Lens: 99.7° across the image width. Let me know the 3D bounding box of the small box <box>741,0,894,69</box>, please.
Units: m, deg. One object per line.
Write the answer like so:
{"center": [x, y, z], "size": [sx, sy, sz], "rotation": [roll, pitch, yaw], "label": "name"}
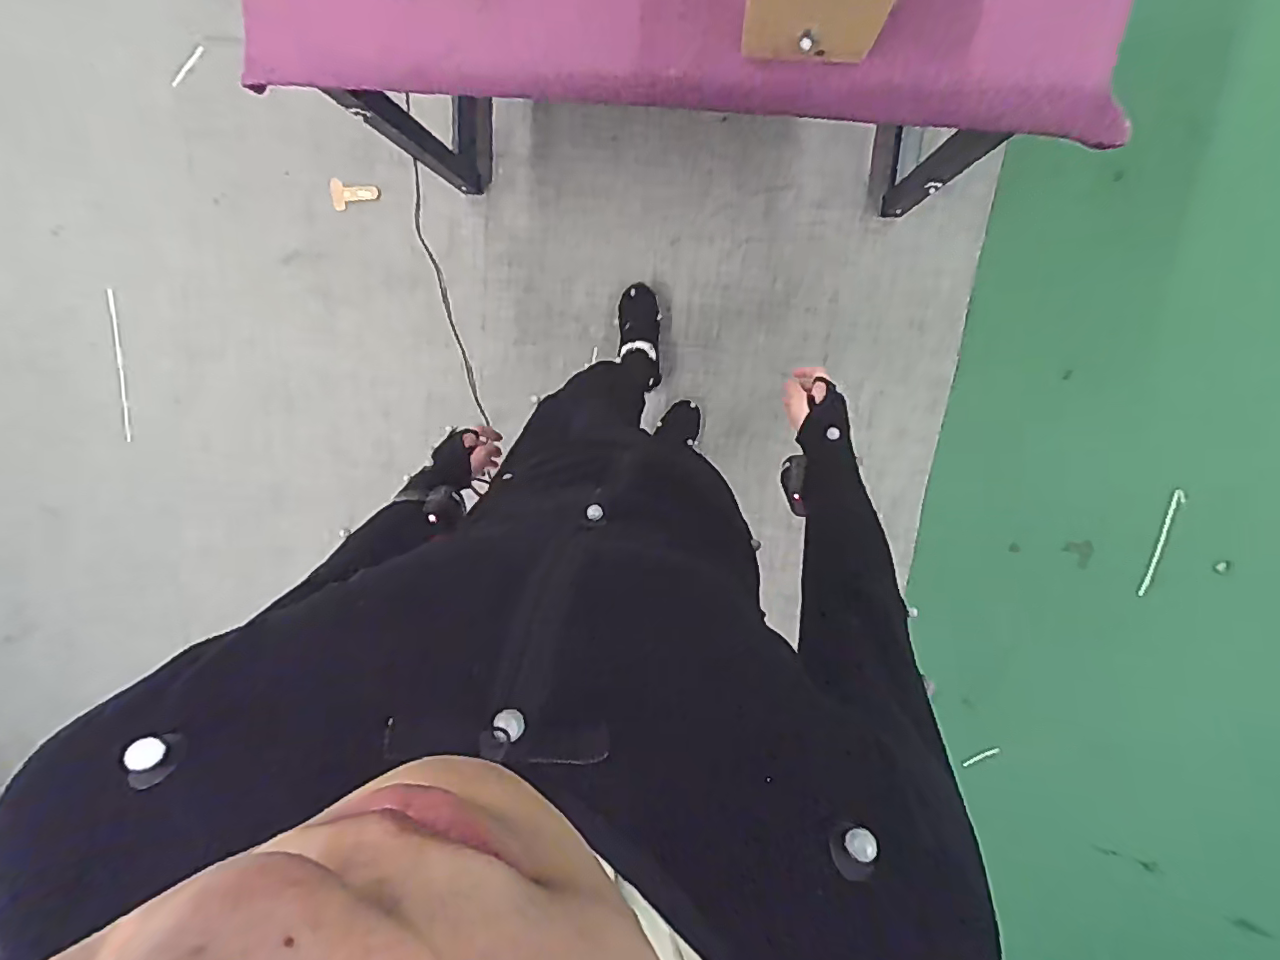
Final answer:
{"center": [0.218, -0.637, 0.641], "size": [0.168, 0.176, 0.179], "rotation": [8, 101, 5], "label": "small box"}
